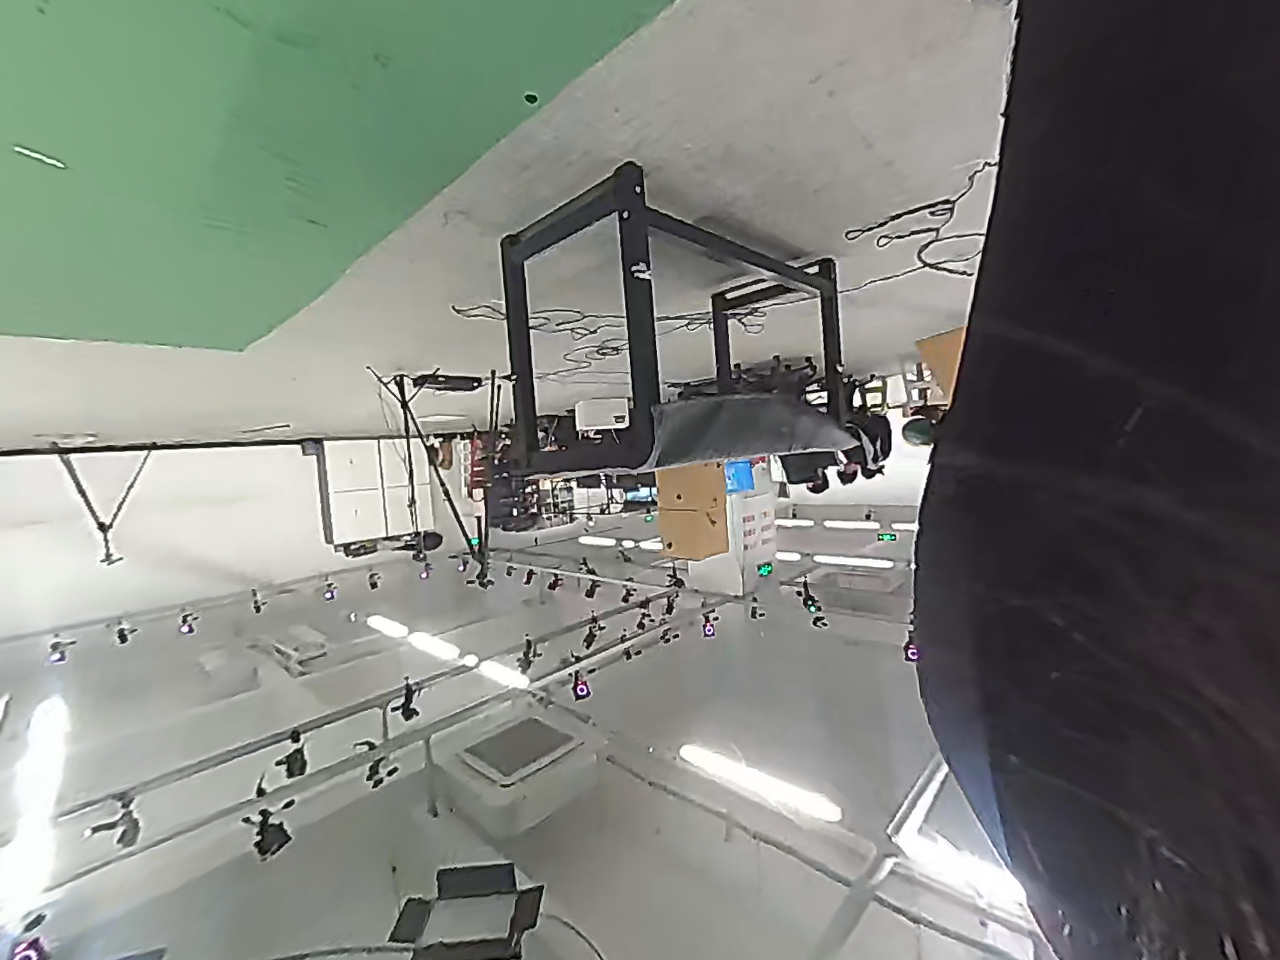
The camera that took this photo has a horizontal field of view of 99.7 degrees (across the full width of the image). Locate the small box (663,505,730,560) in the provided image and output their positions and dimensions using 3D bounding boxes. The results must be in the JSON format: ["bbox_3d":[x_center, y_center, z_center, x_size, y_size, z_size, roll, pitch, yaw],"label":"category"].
[{"bbox_3d":[0.193,0.172,1.867,0.168,0.176,0.179,-8,-176,-43],"label":"small box"}]

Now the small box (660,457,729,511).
[{"bbox_3d":[0.182,0.009,1.839,0.179,0.176,0.168,0,-175,45],"label":"small box"}]
